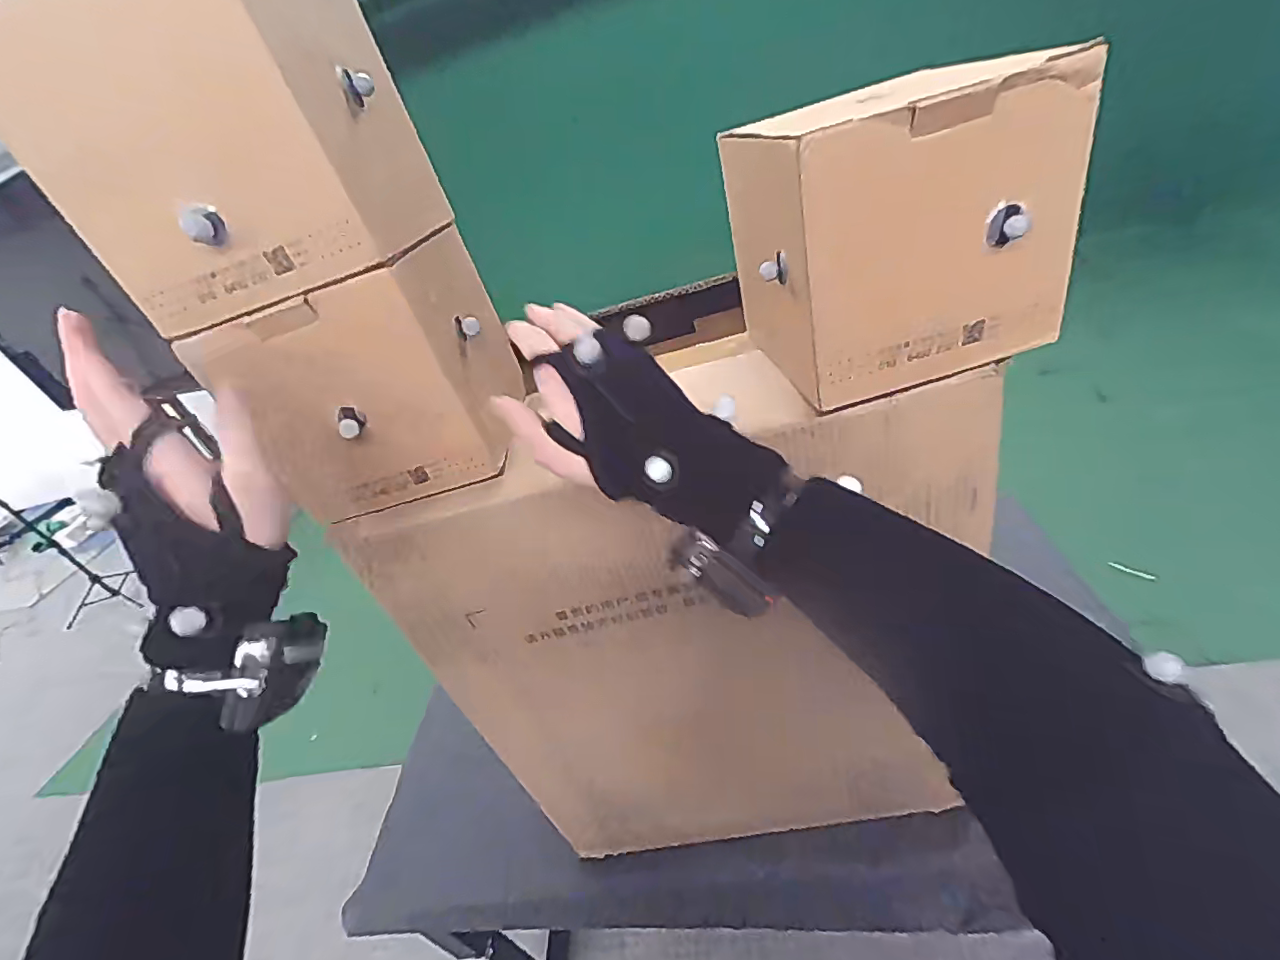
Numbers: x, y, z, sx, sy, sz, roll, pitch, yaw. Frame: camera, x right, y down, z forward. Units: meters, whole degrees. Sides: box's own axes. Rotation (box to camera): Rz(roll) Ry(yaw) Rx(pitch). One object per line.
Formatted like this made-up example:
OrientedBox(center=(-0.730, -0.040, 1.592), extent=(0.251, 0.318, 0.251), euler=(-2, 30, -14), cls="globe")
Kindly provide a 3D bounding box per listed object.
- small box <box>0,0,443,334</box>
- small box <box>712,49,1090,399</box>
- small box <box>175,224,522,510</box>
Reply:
OrientedBox(center=(-0.263, -0.222, 0.374), extent=(0.168, 0.176, 0.179), euler=(-15, 34, 8), cls="small box")
OrientedBox(center=(0.164, -0.174, 0.391), extent=(0.168, 0.176, 0.179), euler=(-16, 32, 1), cls="small box")
OrientedBox(center=(-0.216, -0.092, 0.464), extent=(0.168, 0.176, 0.179), euler=(-15, 34, 7), cls="small box")
